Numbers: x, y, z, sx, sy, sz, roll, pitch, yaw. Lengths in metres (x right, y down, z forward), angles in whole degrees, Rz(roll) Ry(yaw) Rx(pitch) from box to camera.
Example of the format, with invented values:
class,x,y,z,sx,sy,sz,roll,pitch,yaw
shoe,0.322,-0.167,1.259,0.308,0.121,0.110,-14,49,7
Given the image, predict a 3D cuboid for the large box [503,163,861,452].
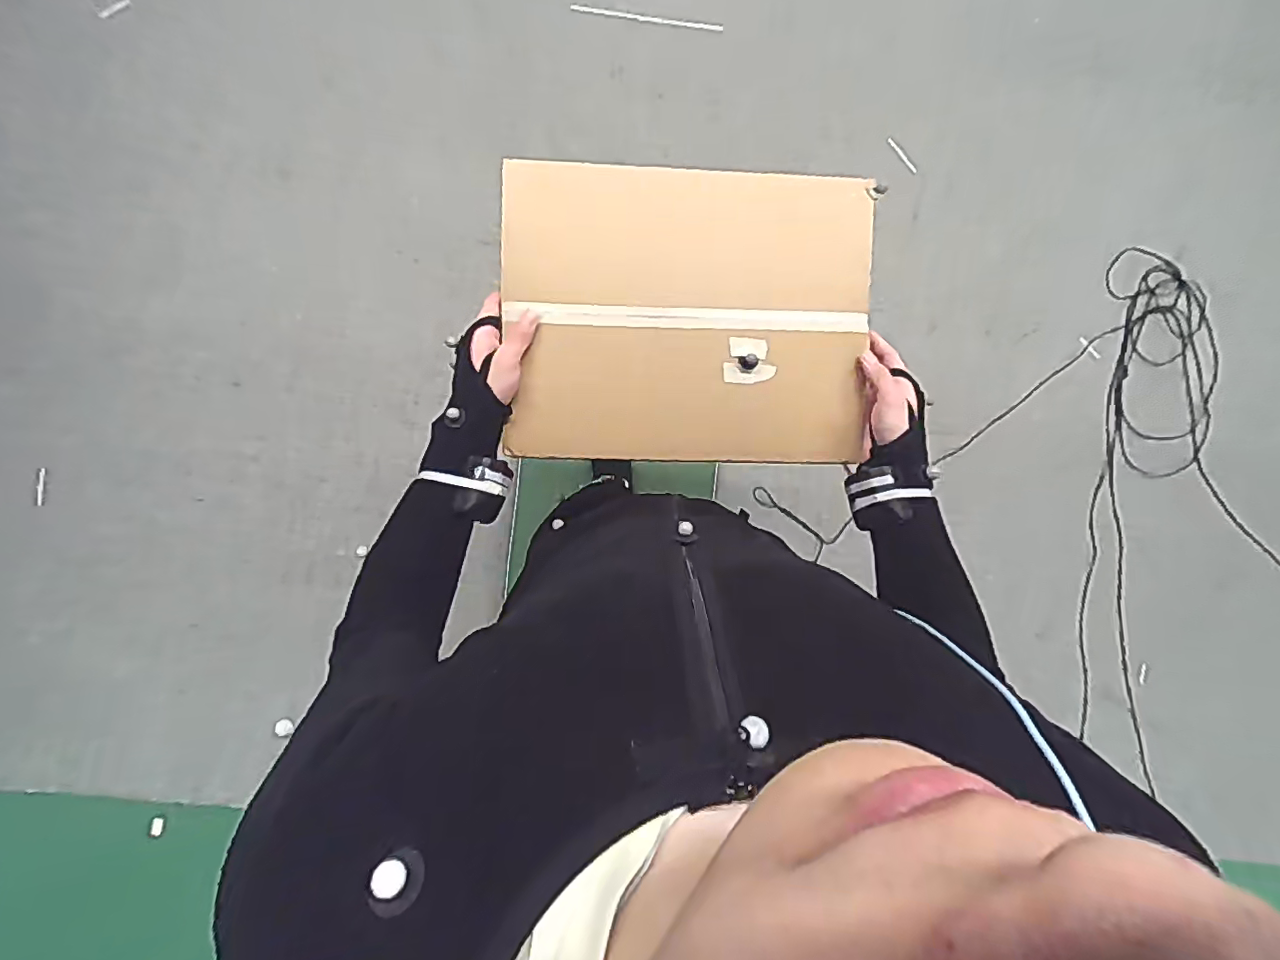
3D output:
class,x,y,z,sx,sy,sz,roll,pitch,yaw
large box,0.038,-0.200,0.752,0.408,0.320,0.320,1,96,-4
